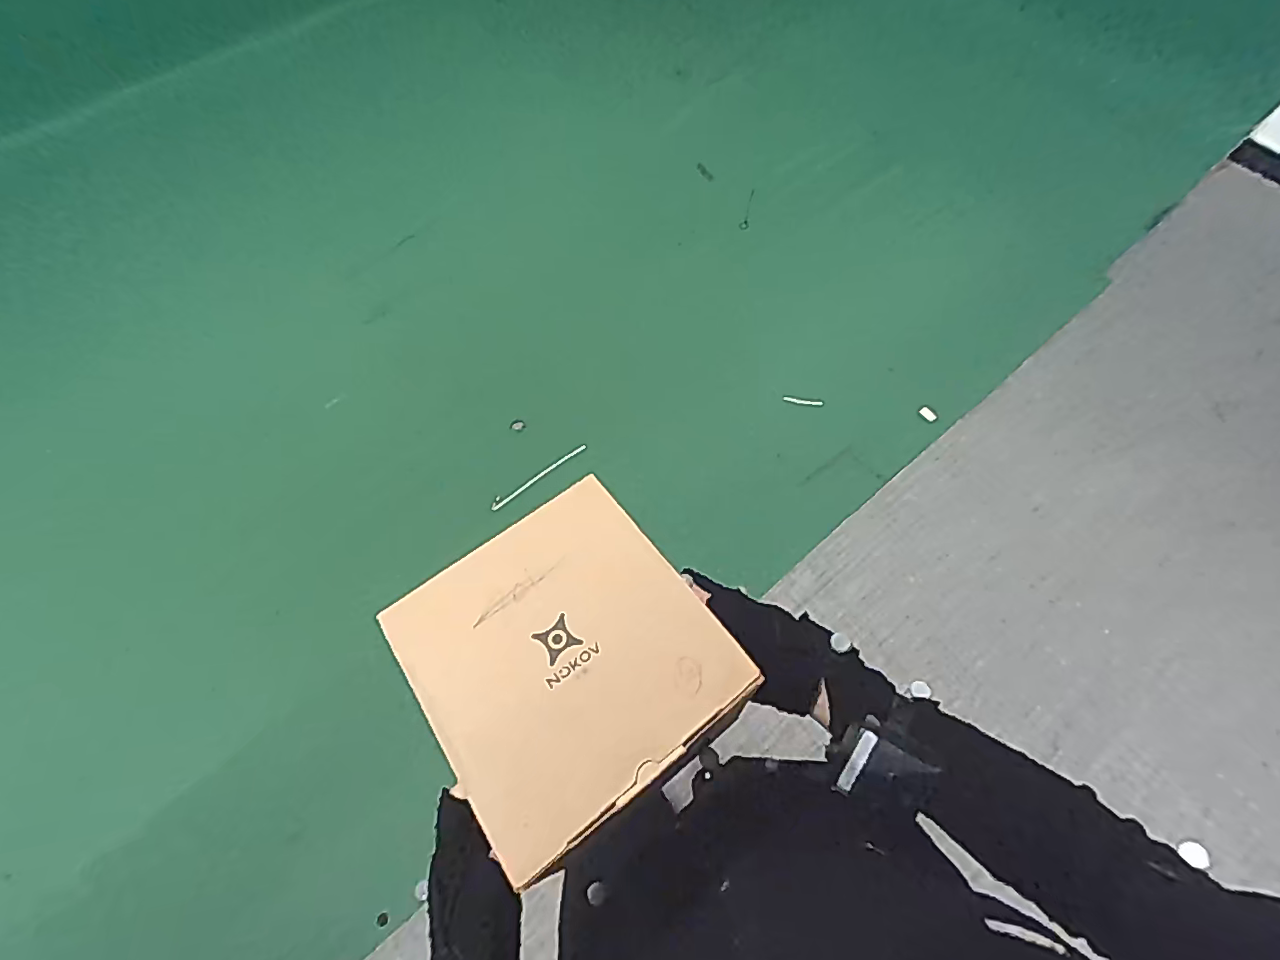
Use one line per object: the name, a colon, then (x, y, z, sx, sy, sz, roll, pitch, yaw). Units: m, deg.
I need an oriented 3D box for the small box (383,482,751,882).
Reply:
small box: (-0.044, 0.140, 0.395, 0.168, 0.176, 0.179, -34, 63, -16)
